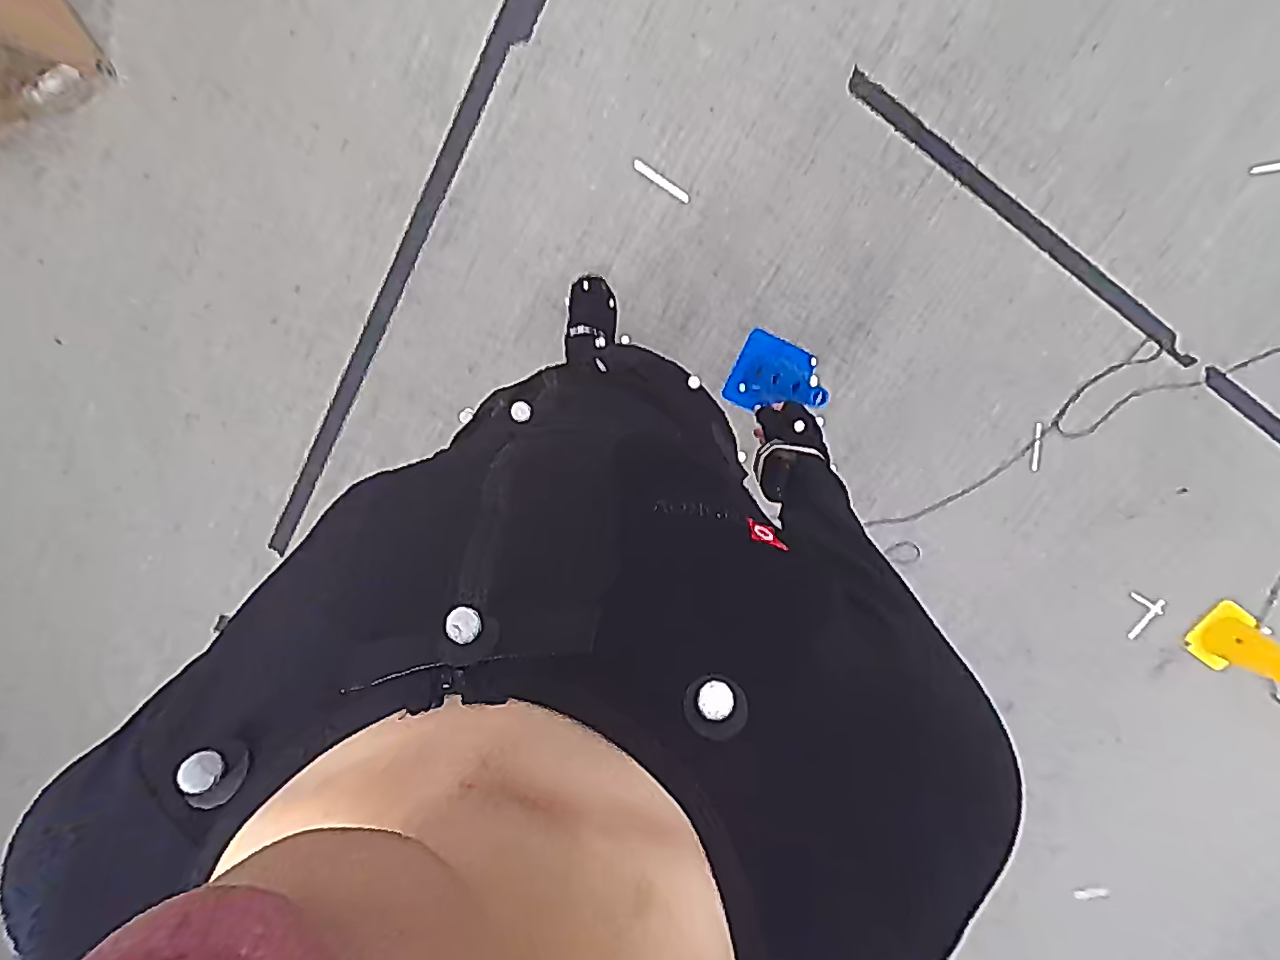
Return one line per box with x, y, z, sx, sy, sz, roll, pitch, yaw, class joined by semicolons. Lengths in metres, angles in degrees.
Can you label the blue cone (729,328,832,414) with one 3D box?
0.352;-0.233;1.253;0.193;0.380;0.192;24;104;-10;blue cone
